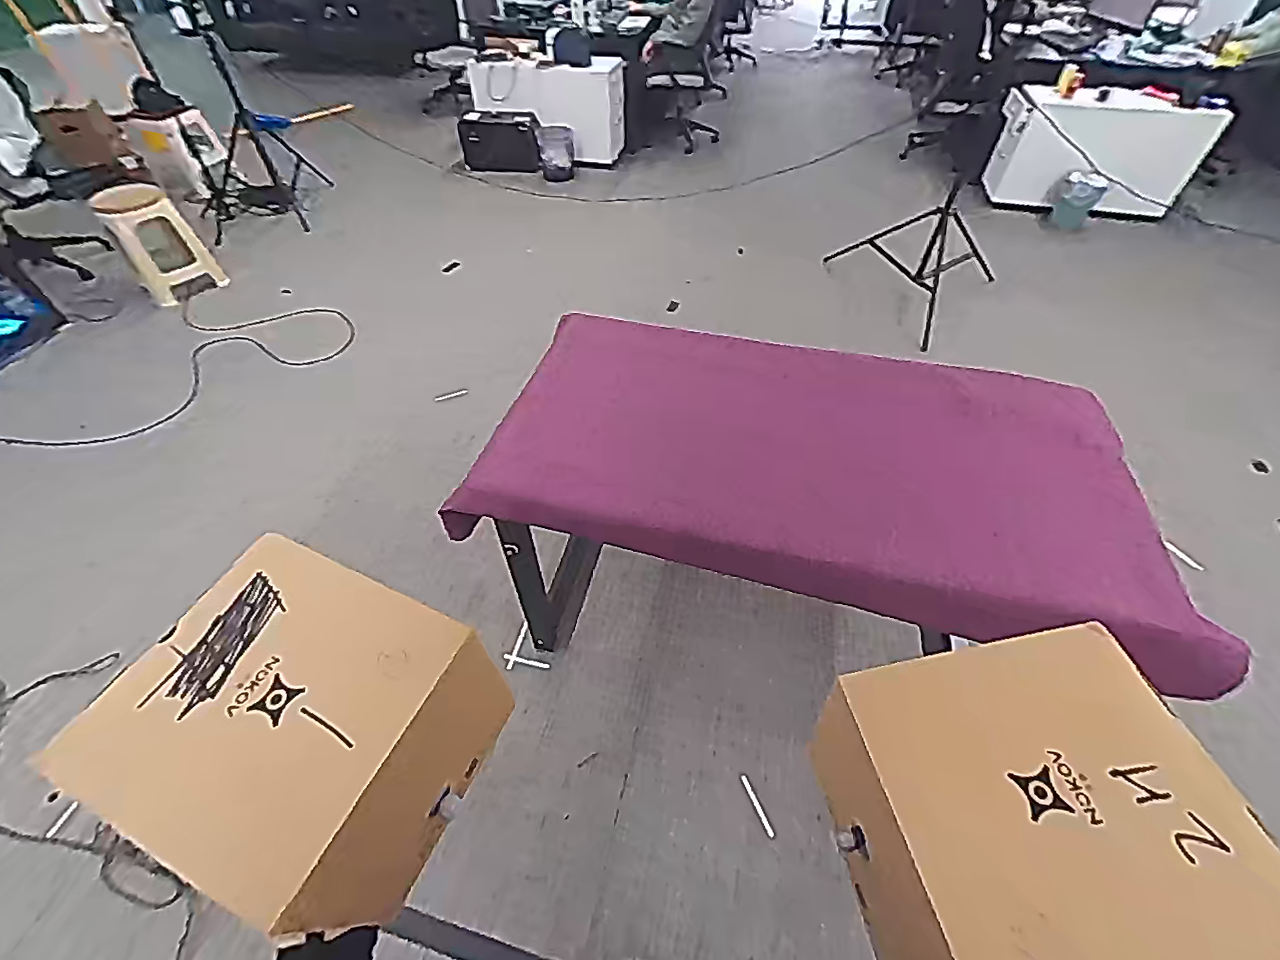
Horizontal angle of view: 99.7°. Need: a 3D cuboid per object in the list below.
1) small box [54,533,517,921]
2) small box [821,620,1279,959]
[{"bbox_3d":[-0.211,0.171,0.381,0.179,0.176,0.168,21,55,13],"label":"small box"},{"bbox_3d":[0.231,0.218,0.351,0.179,0.176,0.168,-11,49,-2],"label":"small box"}]
